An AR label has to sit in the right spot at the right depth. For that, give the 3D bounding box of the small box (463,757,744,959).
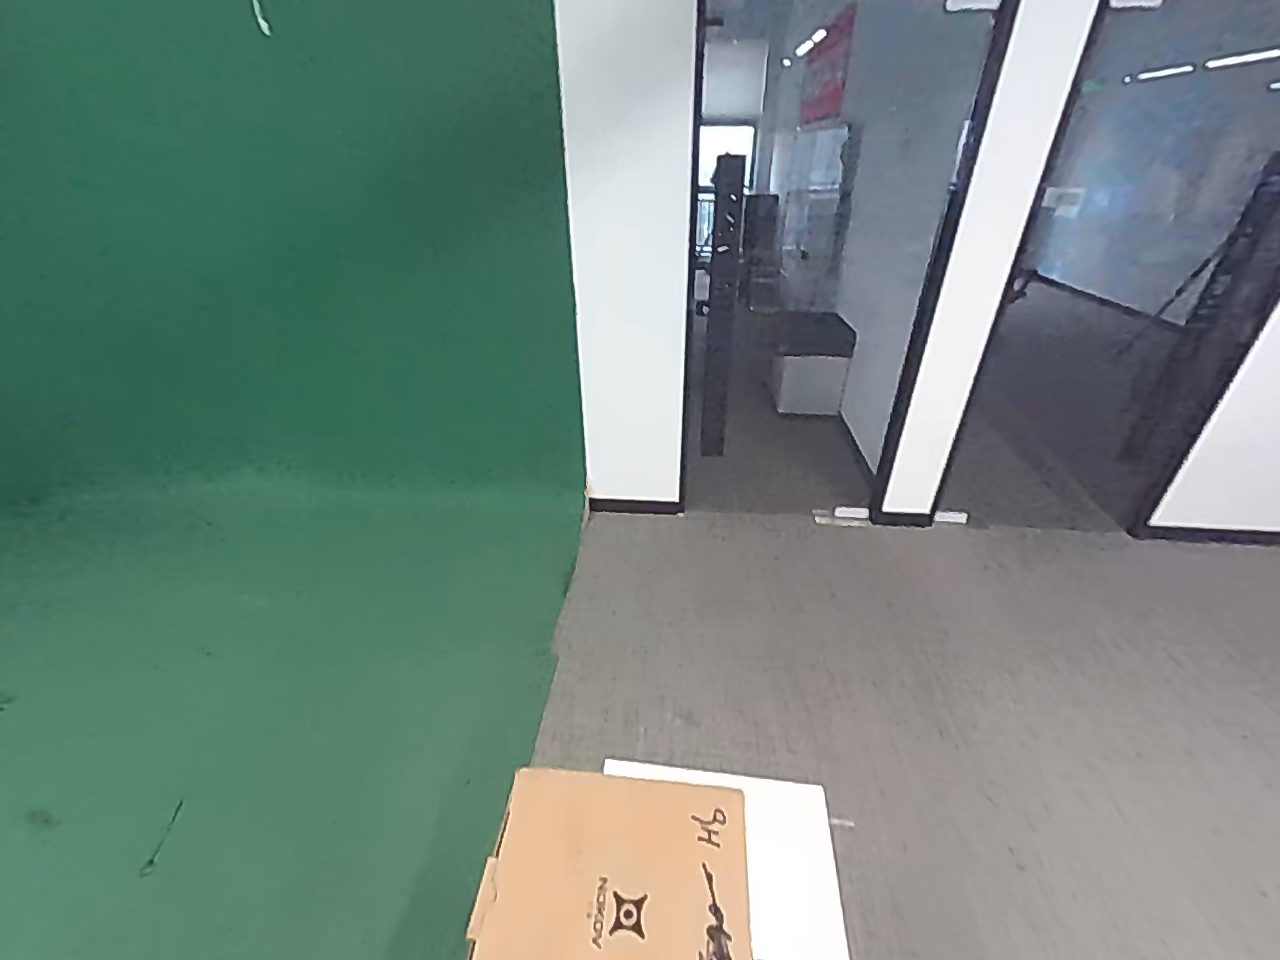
[{"bbox_3d":[-0.019,0.336,0.408,0.179,0.176,0.168,4,40,4],"label":"small box"}]
